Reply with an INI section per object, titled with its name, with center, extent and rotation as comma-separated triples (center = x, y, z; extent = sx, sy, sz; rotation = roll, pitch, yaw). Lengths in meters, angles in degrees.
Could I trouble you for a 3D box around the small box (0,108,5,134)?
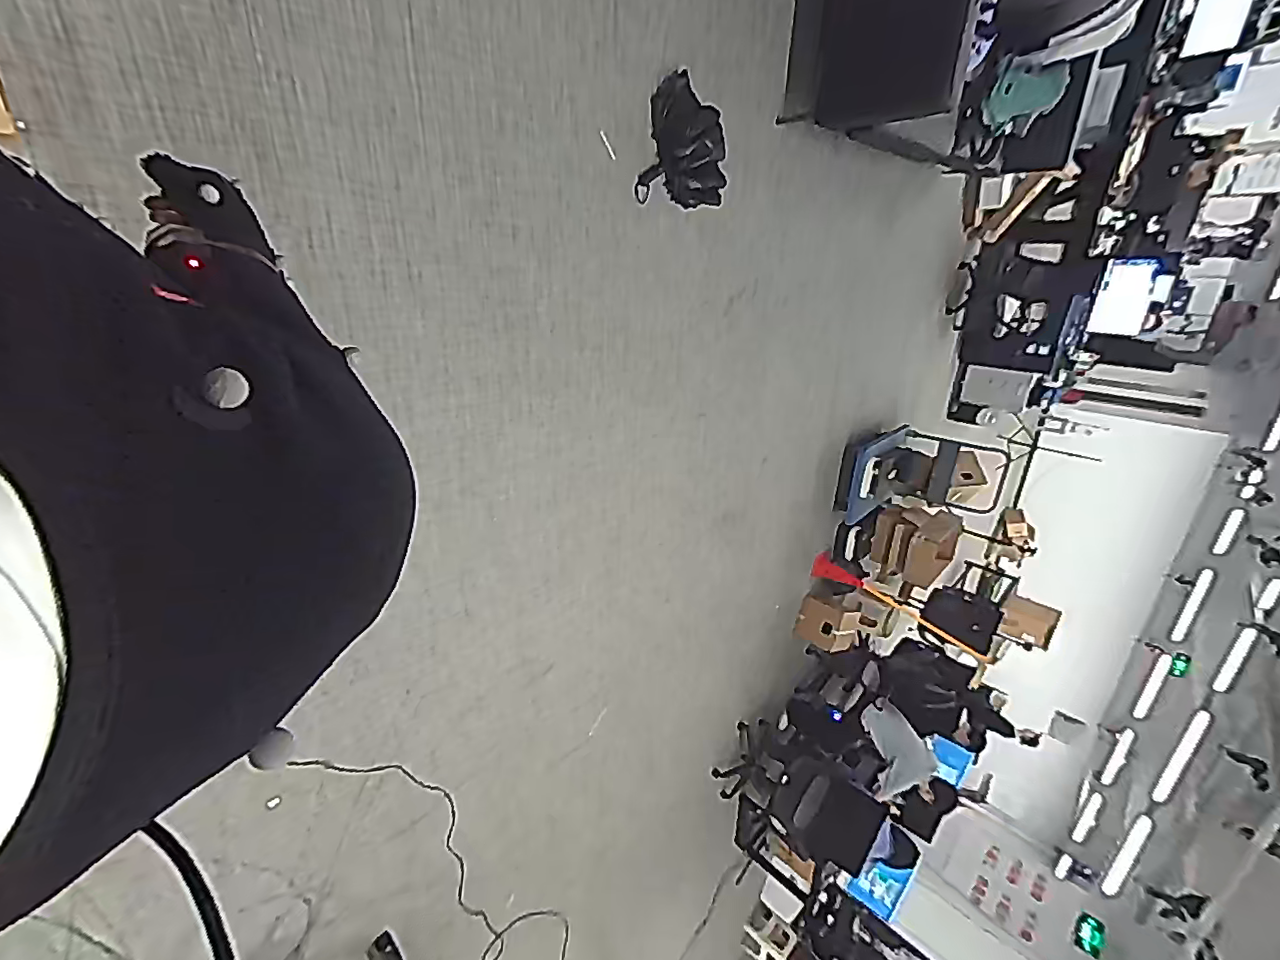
[small box]
center = -1.053, -0.600, 0.763
extent = 0.179, 0.176, 0.168
rotation = -18, 119, -42
